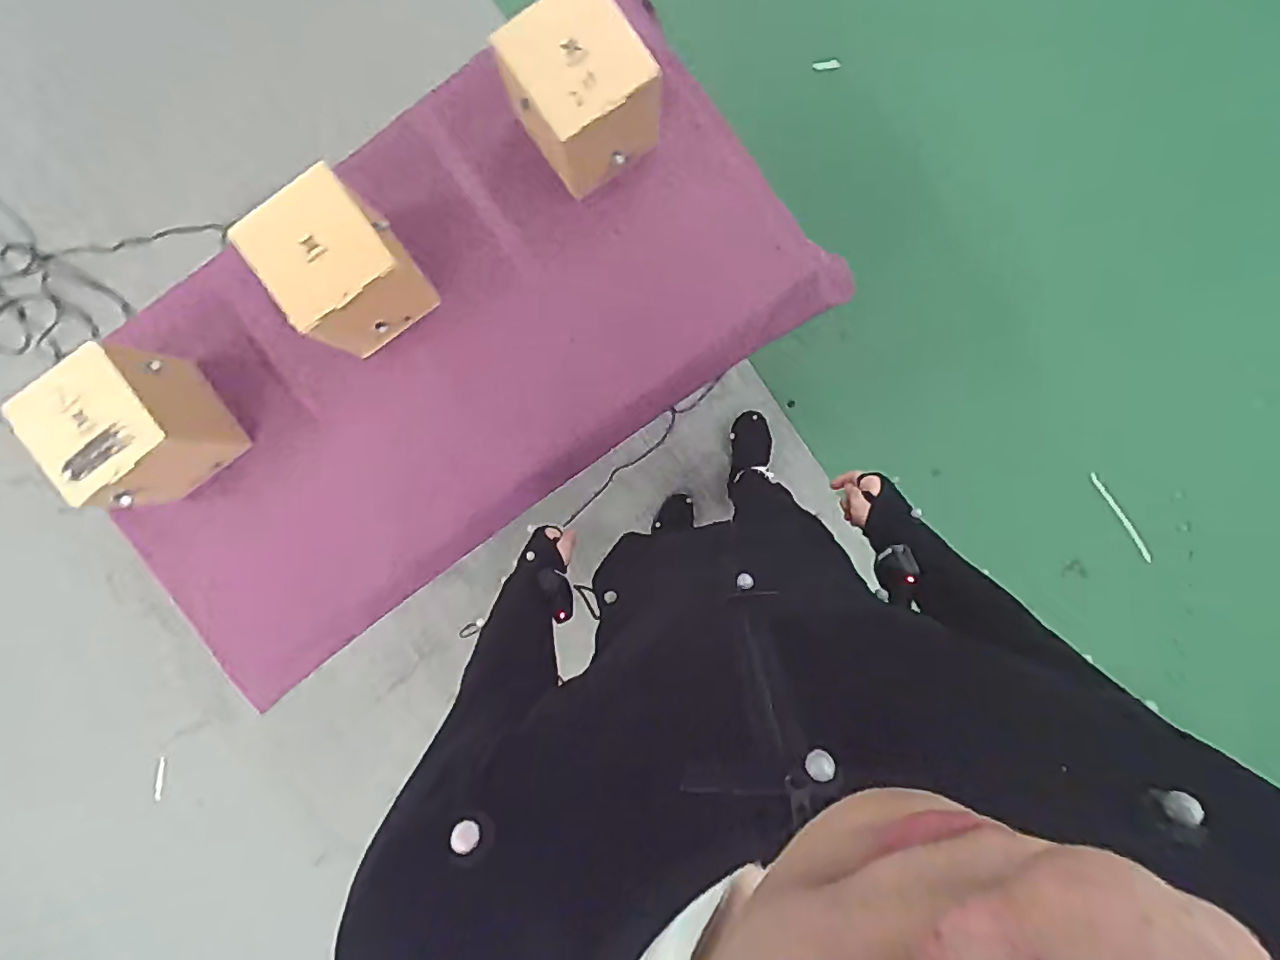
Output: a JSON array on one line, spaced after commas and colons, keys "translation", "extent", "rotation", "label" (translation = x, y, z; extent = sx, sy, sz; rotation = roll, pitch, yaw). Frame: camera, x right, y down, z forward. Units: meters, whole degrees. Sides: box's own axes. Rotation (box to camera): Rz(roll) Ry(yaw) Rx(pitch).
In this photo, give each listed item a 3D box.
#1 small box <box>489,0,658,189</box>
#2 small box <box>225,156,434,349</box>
[{"translation": [-0.089, -0.580, 0.799], "extent": [0.168, 0.176, 0.179], "rotation": [-35, 92, 2], "label": "small box"}, {"translation": [-0.447, -0.323, 0.809], "extent": [0.168, 0.176, 0.179], "rotation": [-36, 92, 1], "label": "small box"}]
